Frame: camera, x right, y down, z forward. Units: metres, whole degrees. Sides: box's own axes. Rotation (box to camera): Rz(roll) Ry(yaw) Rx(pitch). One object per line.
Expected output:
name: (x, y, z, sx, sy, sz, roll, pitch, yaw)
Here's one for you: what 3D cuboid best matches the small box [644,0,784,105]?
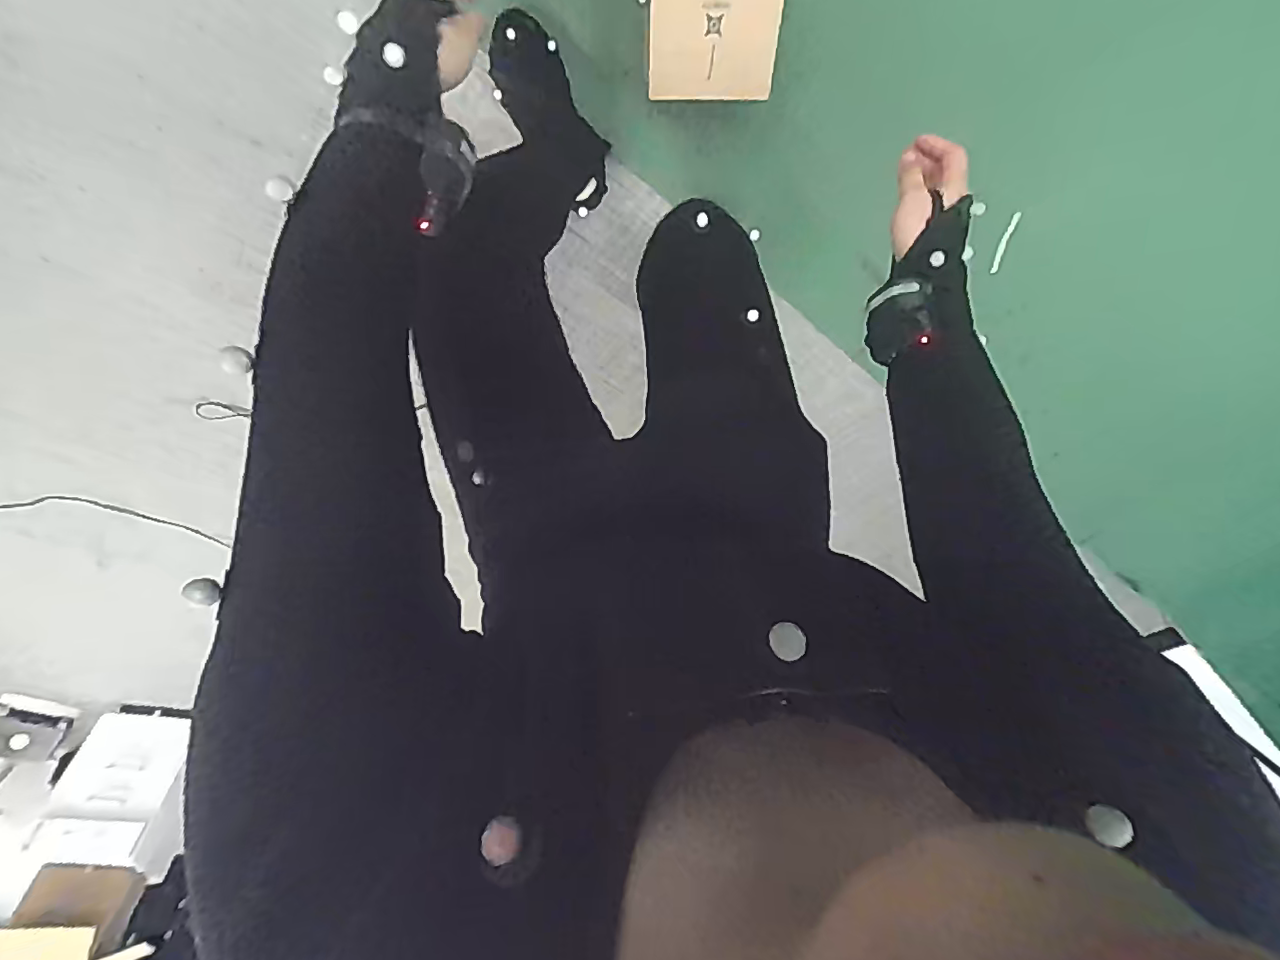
small box: (0.092, -0.628, 0.727, 0.168, 0.176, 0.179, 0, 137, -1)
